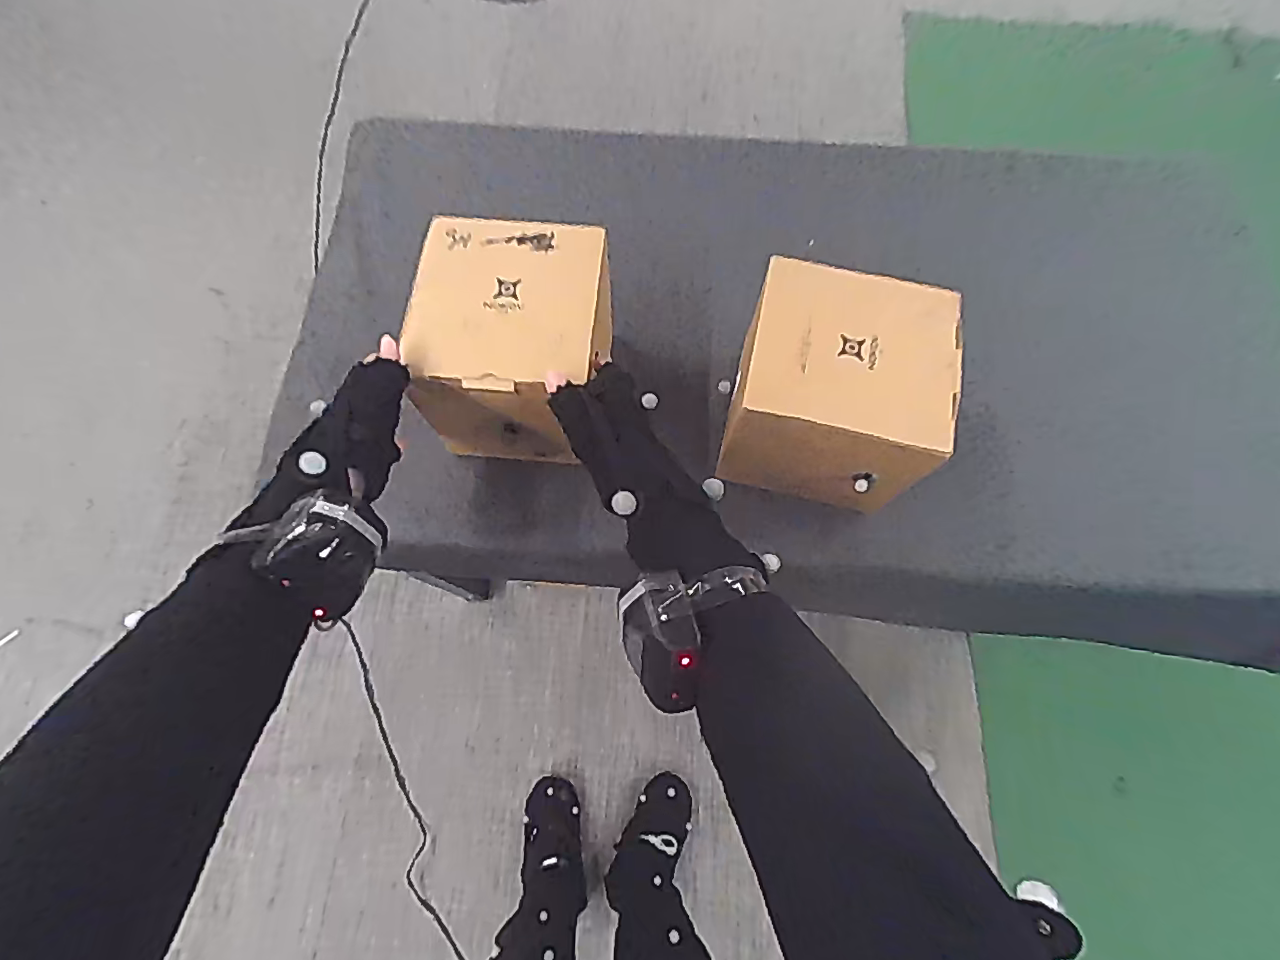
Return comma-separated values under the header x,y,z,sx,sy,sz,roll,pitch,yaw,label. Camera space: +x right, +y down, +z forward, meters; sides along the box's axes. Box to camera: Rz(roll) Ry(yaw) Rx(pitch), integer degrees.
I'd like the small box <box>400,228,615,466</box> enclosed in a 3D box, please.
x,y,z,sx,sy,sz,roll,pitch,yaw,label
-0.117,-0.124,0.558,0.168,0.176,0.179,5,70,1,small box

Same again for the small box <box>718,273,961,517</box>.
x,y,z,sx,sy,sz,roll,pitch,yaw,label
0.188,-0.073,0.546,0.179,0.176,0.168,13,70,5,small box
